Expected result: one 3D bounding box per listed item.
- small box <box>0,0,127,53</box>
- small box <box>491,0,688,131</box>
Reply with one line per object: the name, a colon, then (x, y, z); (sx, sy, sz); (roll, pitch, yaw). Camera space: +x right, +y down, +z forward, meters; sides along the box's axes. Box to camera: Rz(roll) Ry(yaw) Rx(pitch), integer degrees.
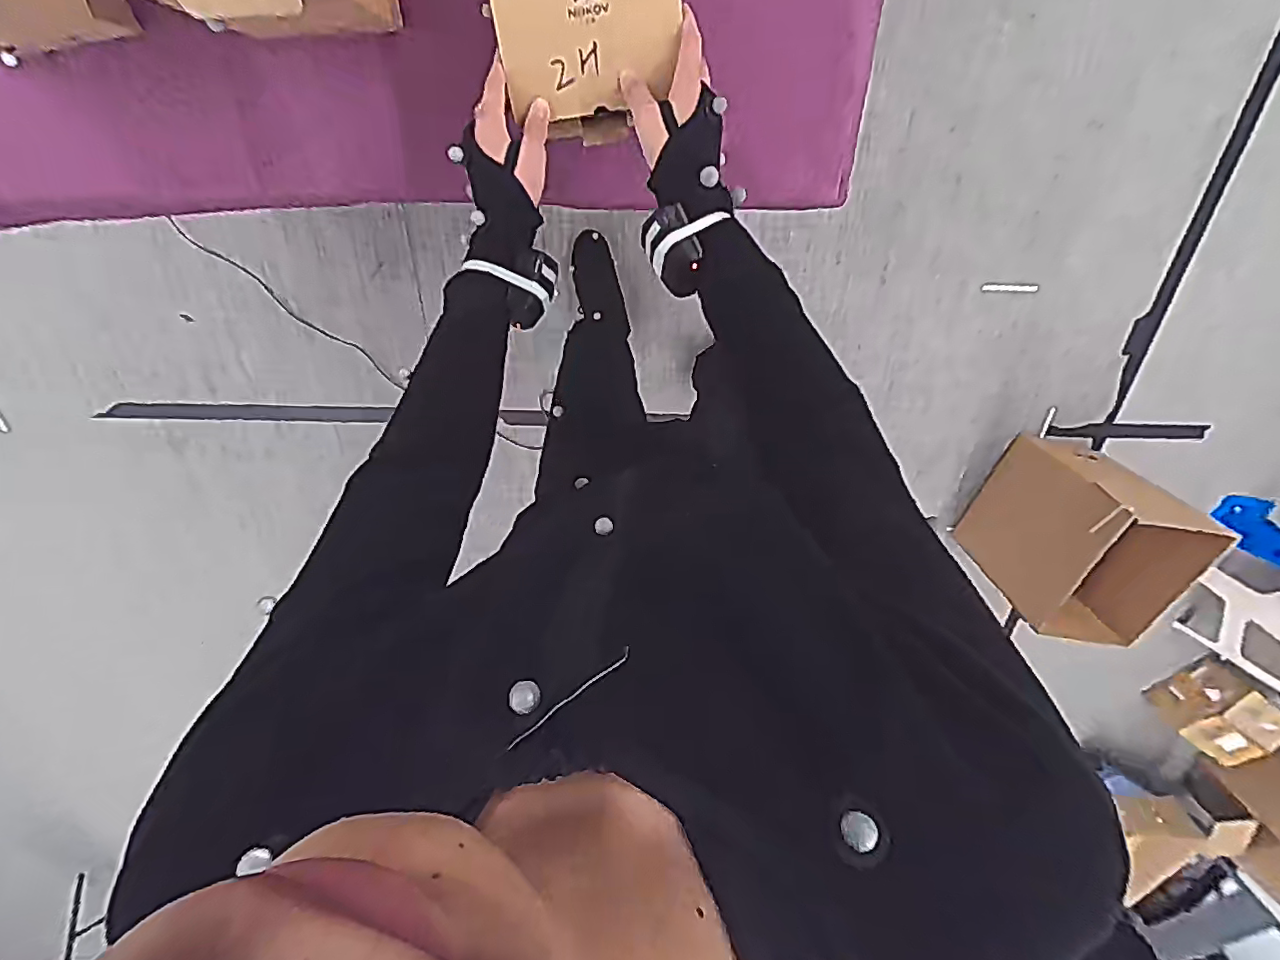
small box: (-0.628, -0.502, 0.473); (0.168, 0.176, 0.179); (-9, 119, 2)
small box: (-0.048, -0.454, 0.520); (0.168, 0.176, 0.179); (-7, 119, 3)
